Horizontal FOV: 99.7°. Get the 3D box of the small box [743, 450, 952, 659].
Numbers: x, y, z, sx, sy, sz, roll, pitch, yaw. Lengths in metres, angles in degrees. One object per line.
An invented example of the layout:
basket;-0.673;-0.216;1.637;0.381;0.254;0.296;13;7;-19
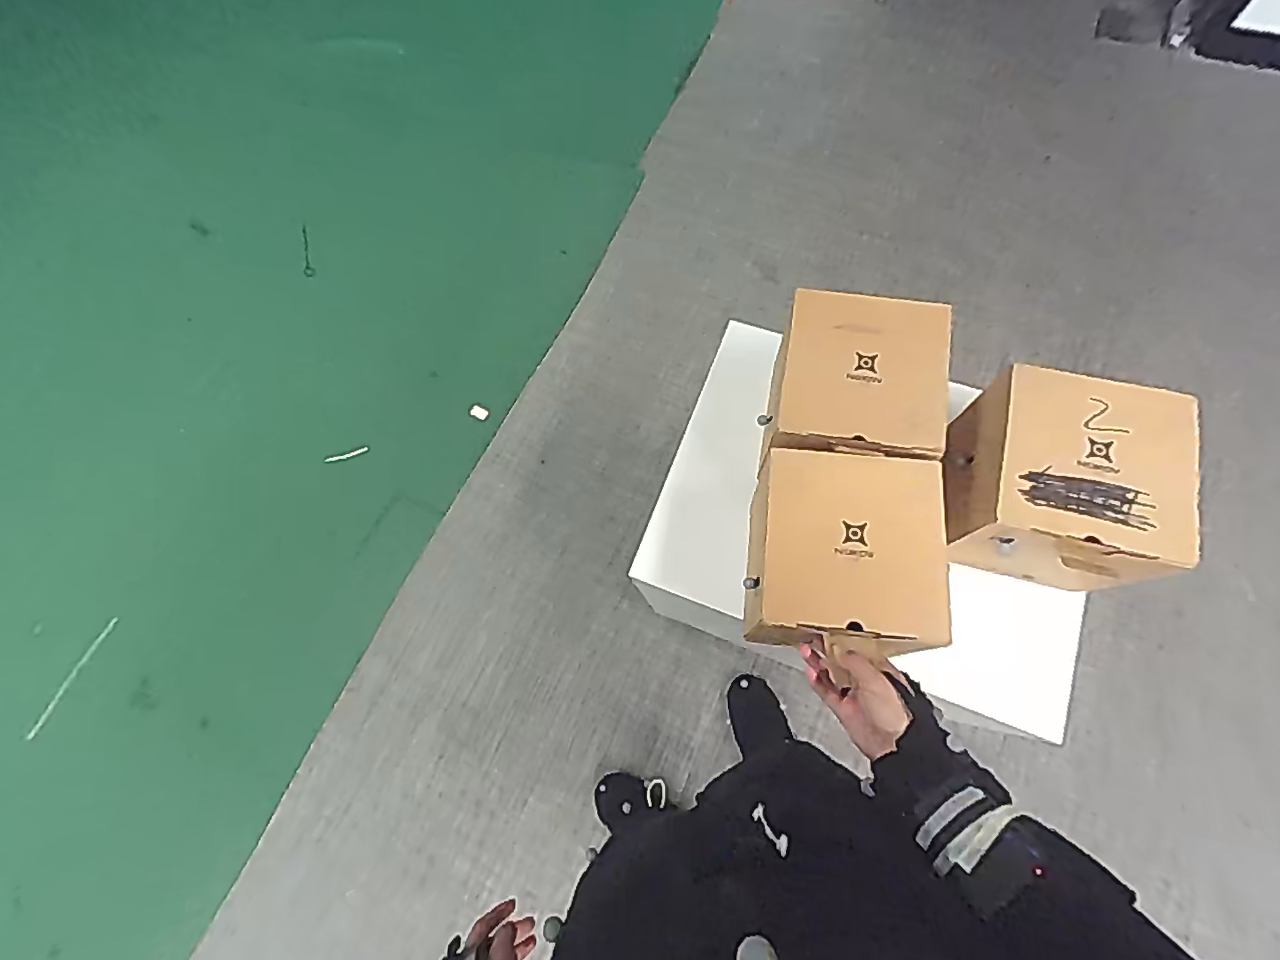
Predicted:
small box;0.204;0.086;0.577;0.168;0.176;0.179;5;70;6
